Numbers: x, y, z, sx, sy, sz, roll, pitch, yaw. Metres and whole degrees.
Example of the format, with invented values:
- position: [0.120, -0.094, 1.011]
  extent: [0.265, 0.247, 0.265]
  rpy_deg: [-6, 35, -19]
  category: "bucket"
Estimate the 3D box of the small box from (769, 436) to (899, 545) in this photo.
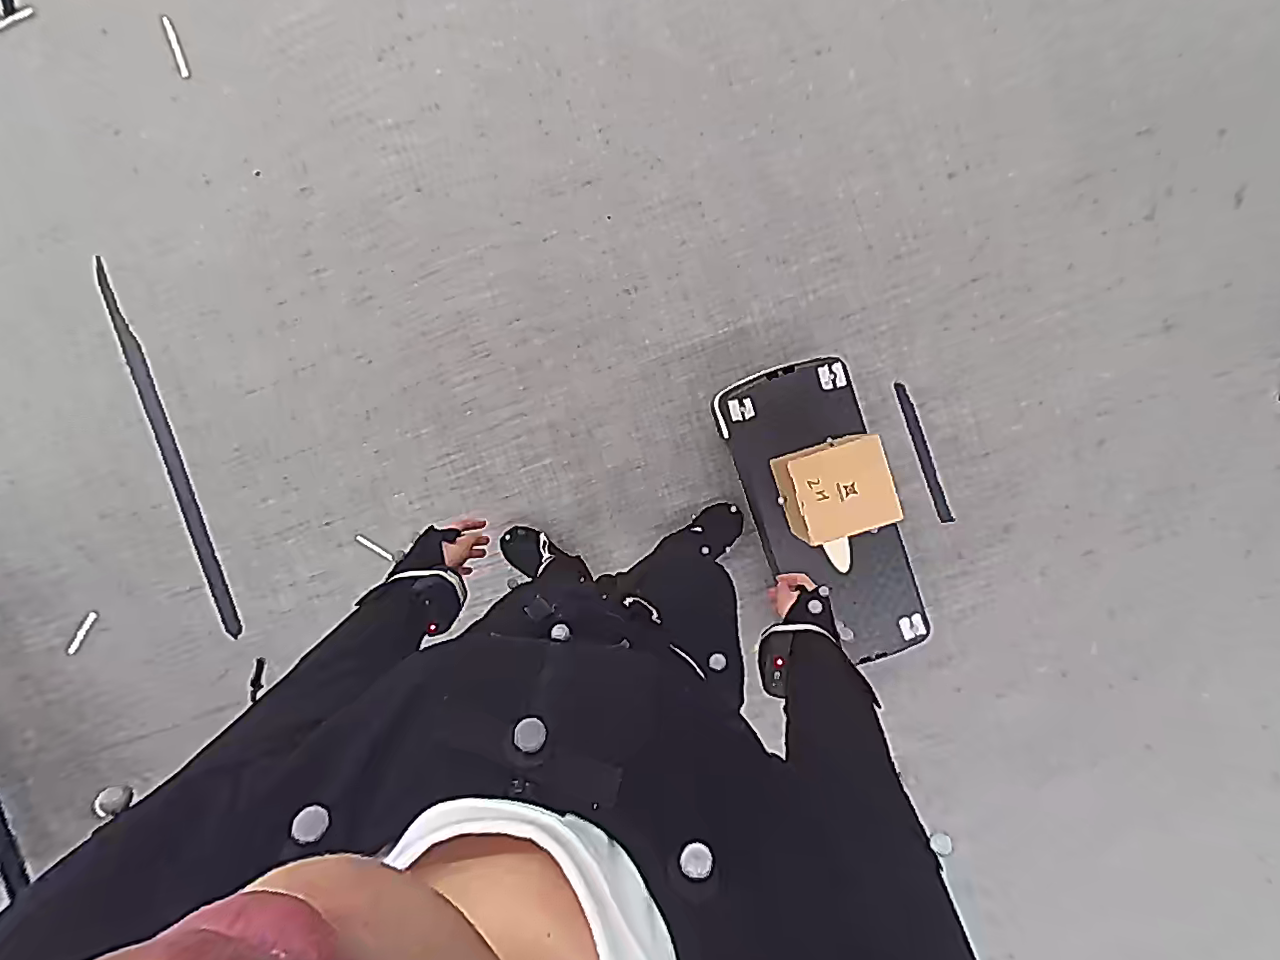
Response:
- position: [0.374, 0.015, 1.071]
  extent: [0.179, 0.176, 0.168]
  rpy_deg: [-17, 91, 4]
  category: "small box"

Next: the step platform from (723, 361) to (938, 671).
- position: [0.425, 0.079, 1.246]
  extent: [0.286, 0.204, 0.684]
  rpy_deg: [-19, 91, 3]
  category: "step platform"
